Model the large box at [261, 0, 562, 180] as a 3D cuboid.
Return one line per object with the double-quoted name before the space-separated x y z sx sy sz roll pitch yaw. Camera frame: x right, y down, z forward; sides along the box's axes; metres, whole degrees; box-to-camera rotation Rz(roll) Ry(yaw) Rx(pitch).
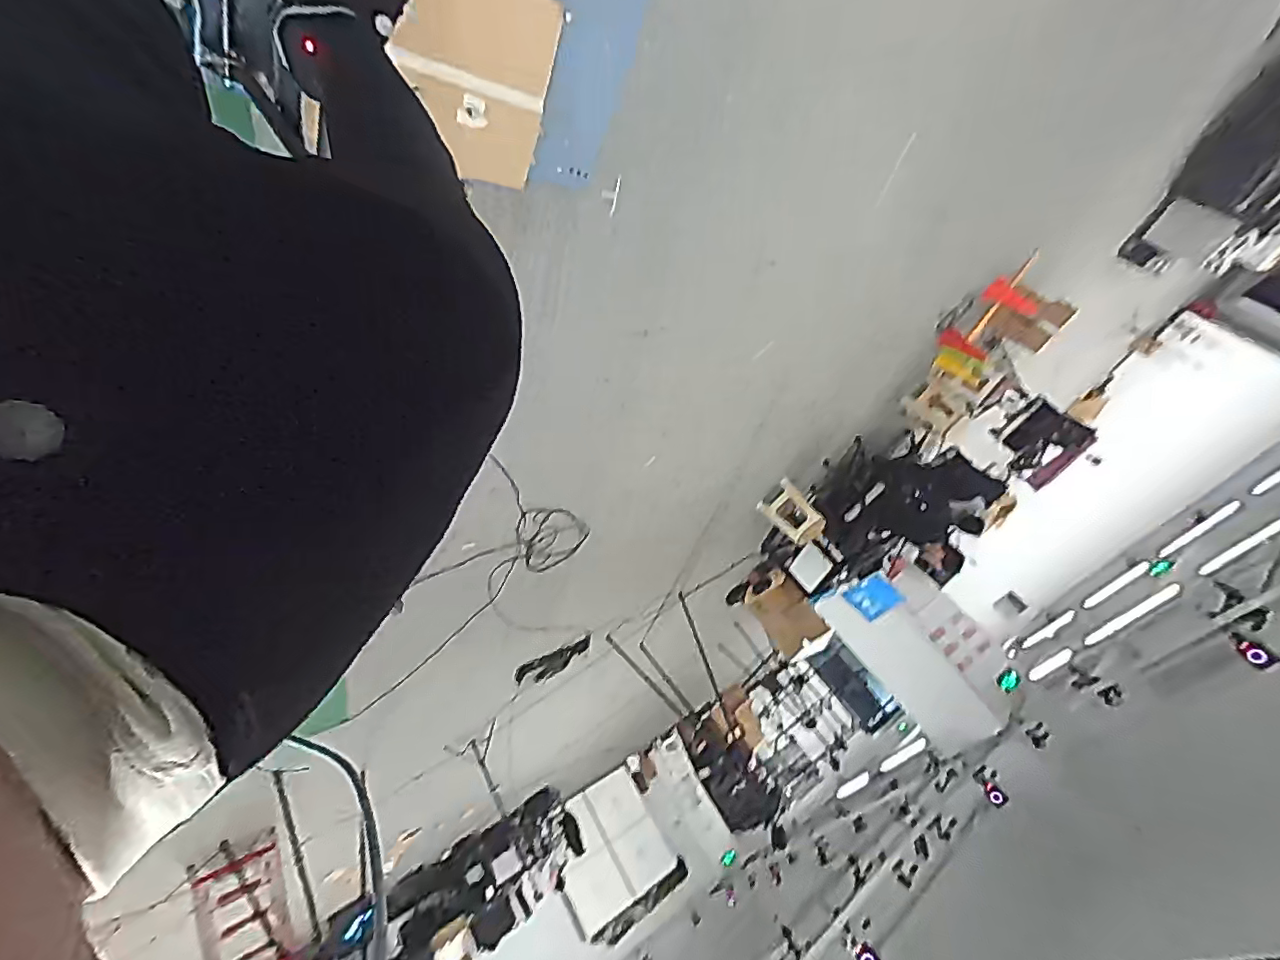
"large box" -0.419 -0.797 0.972 0.408 0.320 0.320 -11 141 -41
